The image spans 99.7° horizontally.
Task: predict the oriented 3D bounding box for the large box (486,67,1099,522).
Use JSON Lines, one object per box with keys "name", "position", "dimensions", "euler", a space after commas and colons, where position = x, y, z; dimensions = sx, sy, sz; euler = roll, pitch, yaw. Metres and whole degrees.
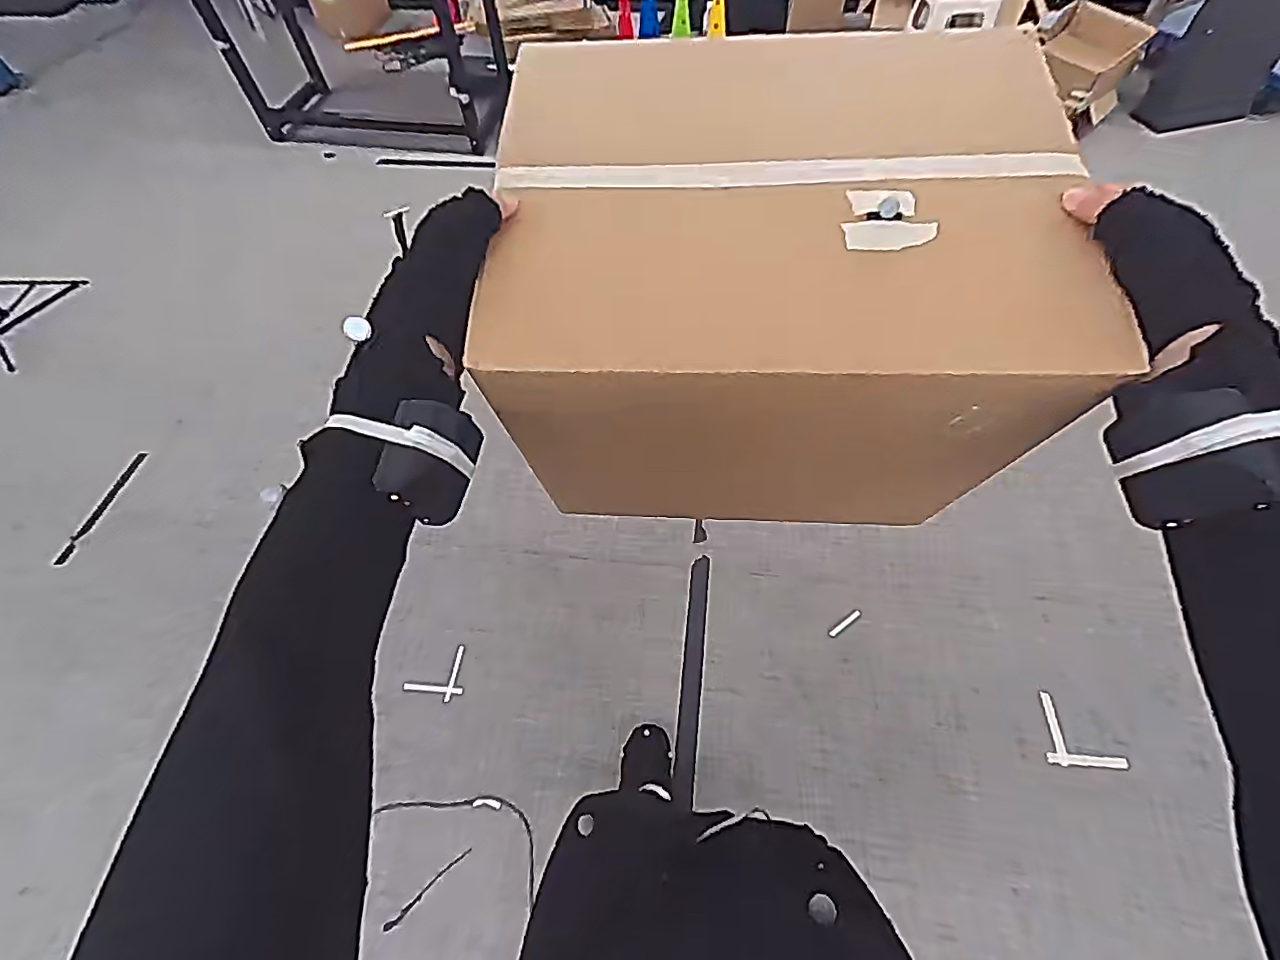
{"name": "large box", "position": [0.103, -0.148, 0.541], "dimensions": [0.408, 0.320, 0.320], "euler": [1, 70, 4]}
